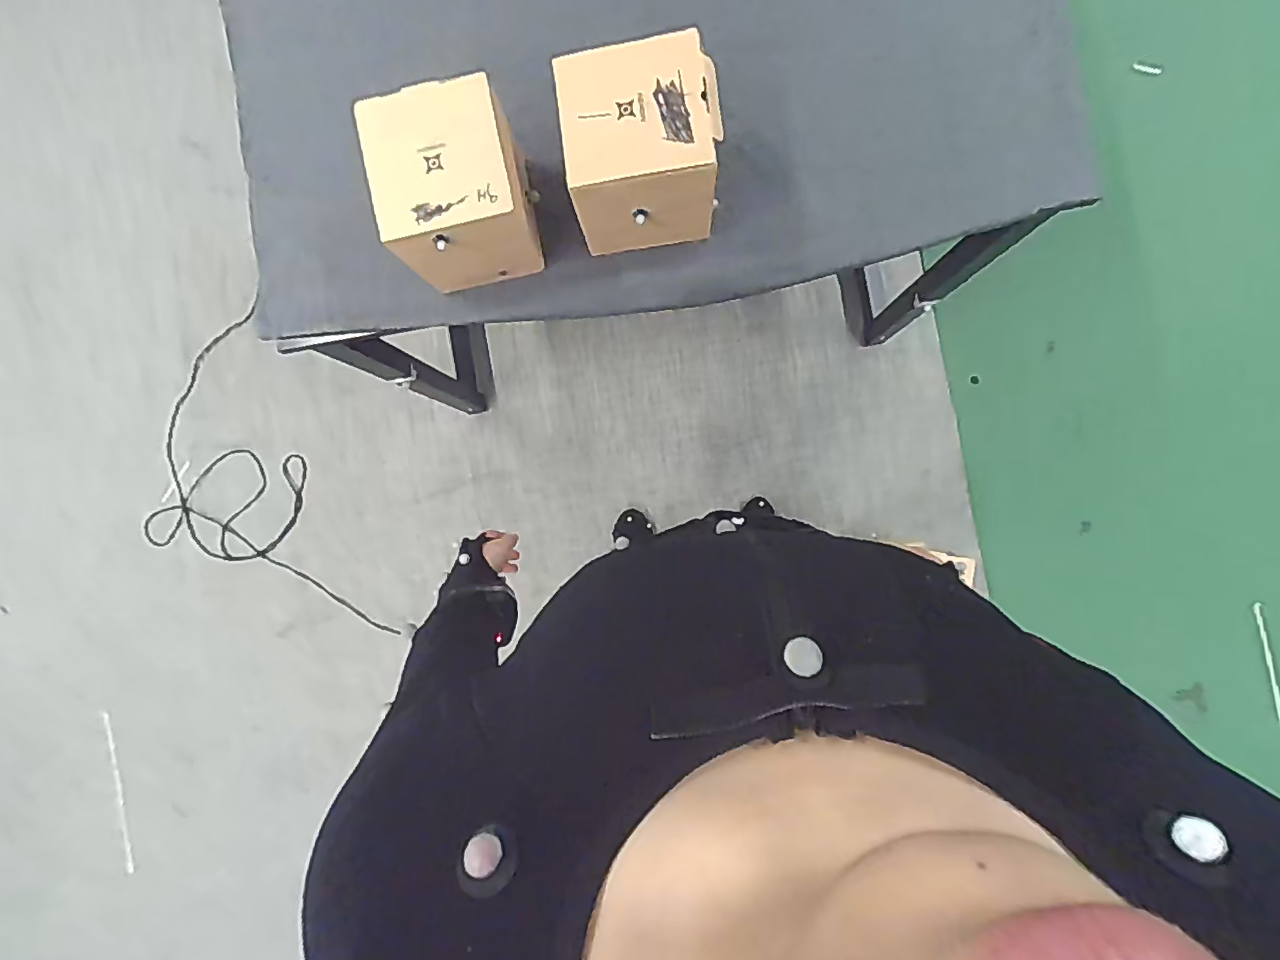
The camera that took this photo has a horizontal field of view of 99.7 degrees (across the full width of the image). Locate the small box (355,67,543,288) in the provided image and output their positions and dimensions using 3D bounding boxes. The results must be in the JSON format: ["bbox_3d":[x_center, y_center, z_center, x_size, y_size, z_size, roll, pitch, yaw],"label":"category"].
[{"bbox_3d":[-0.239,-0.382,0.713,0.168,0.176,0.179,-11,87,4],"label":"small box"}]

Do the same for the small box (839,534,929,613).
[{"bbox_3d":[0.612,0.233,1.372,0.168,0.176,0.179,-1,88,4],"label":"small box"}]
